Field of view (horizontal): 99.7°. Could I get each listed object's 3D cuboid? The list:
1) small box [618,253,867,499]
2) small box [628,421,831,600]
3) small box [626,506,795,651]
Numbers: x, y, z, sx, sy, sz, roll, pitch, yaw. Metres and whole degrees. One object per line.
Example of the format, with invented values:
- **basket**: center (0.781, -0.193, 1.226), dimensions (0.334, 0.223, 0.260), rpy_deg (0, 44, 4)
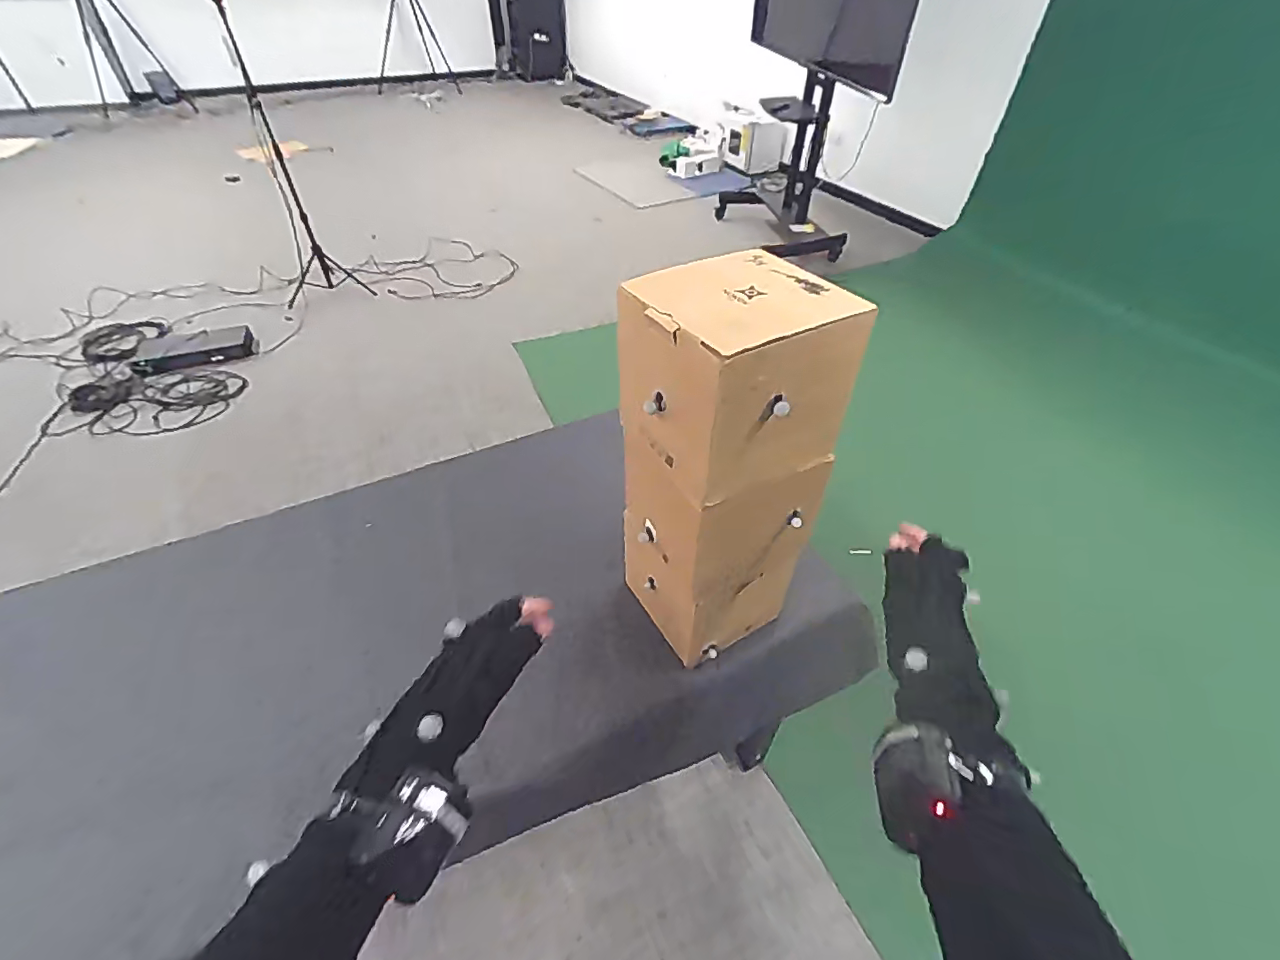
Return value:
- **small box**: center (0.094, -0.108, 0.557), dimensions (0.179, 0.176, 0.168), rpy_deg (-23, 48, -21)
- **small box**: center (0.098, 0.013, 0.668), dimensions (0.179, 0.176, 0.168), rpy_deg (-22, 47, -19)
- **small box**: center (0.094, 0.122, 0.787), dimensions (0.168, 0.176, 0.179), rpy_deg (-23, 48, -22)
